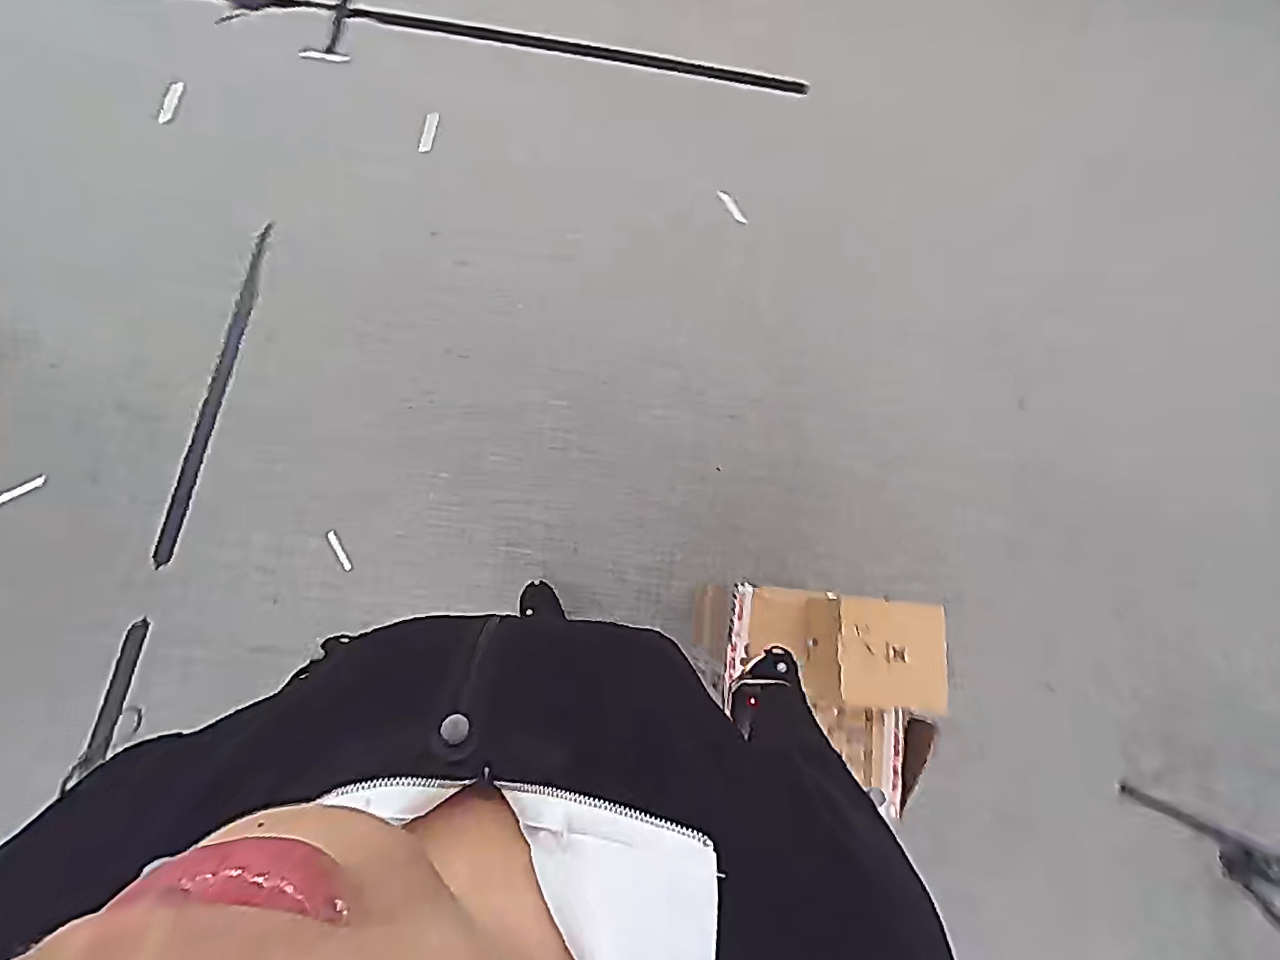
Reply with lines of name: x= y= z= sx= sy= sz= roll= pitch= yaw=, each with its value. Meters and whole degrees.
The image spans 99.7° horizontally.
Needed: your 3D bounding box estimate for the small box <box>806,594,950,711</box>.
small box: x=0.407 y=0.293 z=0.944 sx=0.179 sy=0.176 sz=0.168 roll=6 pitch=76 yaw=0
